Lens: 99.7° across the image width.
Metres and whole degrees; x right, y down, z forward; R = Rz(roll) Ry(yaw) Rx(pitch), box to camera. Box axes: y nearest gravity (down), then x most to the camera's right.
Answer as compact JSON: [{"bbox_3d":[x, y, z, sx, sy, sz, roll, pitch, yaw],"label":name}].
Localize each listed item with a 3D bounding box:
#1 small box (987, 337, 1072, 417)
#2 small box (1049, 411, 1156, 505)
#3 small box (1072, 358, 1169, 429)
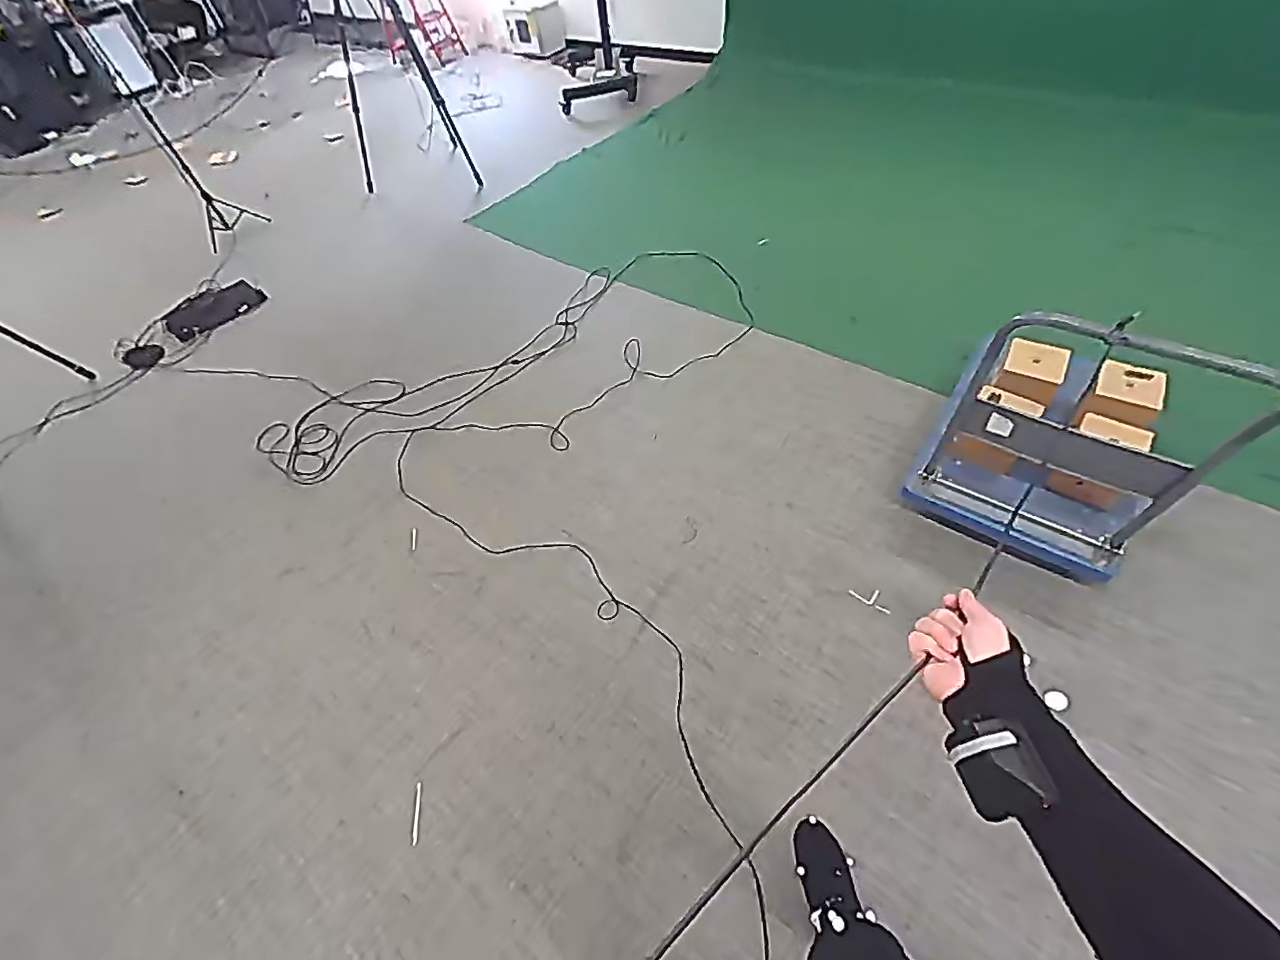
[{"bbox_3d":[1.279,-0.337,1.785,0.168,0.176,0.179,24,60,23],"label":"small box"},{"bbox_3d":[1.333,-0.061,1.567,0.168,0.176,0.179,28,62,26],"label":"small box"},{"bbox_3d":[1.491,-0.245,1.685,0.168,0.176,0.179,23,60,24],"label":"small box"}]
